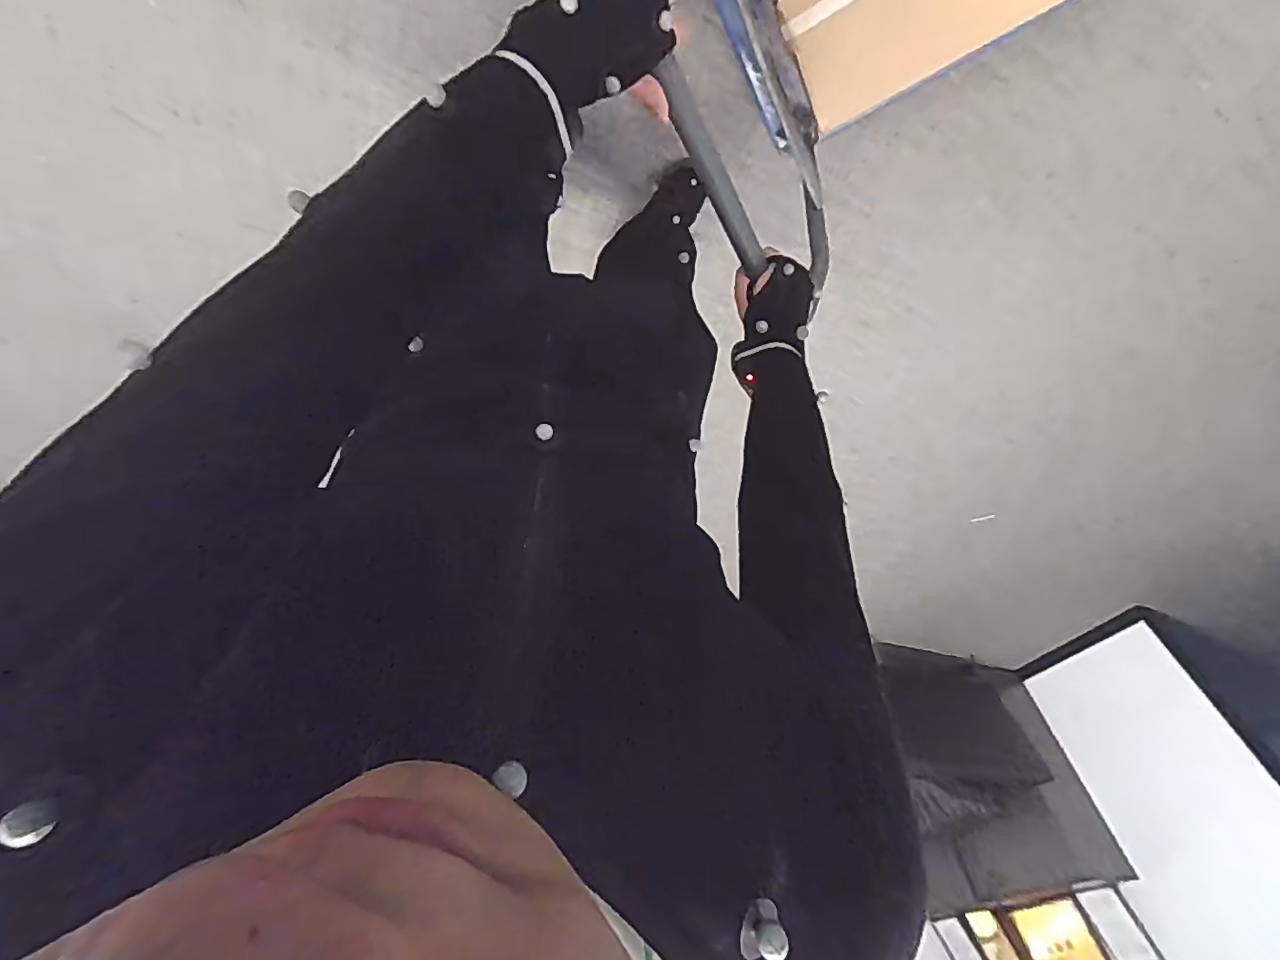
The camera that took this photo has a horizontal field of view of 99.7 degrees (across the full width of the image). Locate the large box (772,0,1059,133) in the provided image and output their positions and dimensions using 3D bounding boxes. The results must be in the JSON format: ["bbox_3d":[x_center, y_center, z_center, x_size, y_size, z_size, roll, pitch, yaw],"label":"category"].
[{"bbox_3d":[0.391,-0.806,0.775,0.408,0.320,0.320,-18,135,26],"label":"large box"}]
